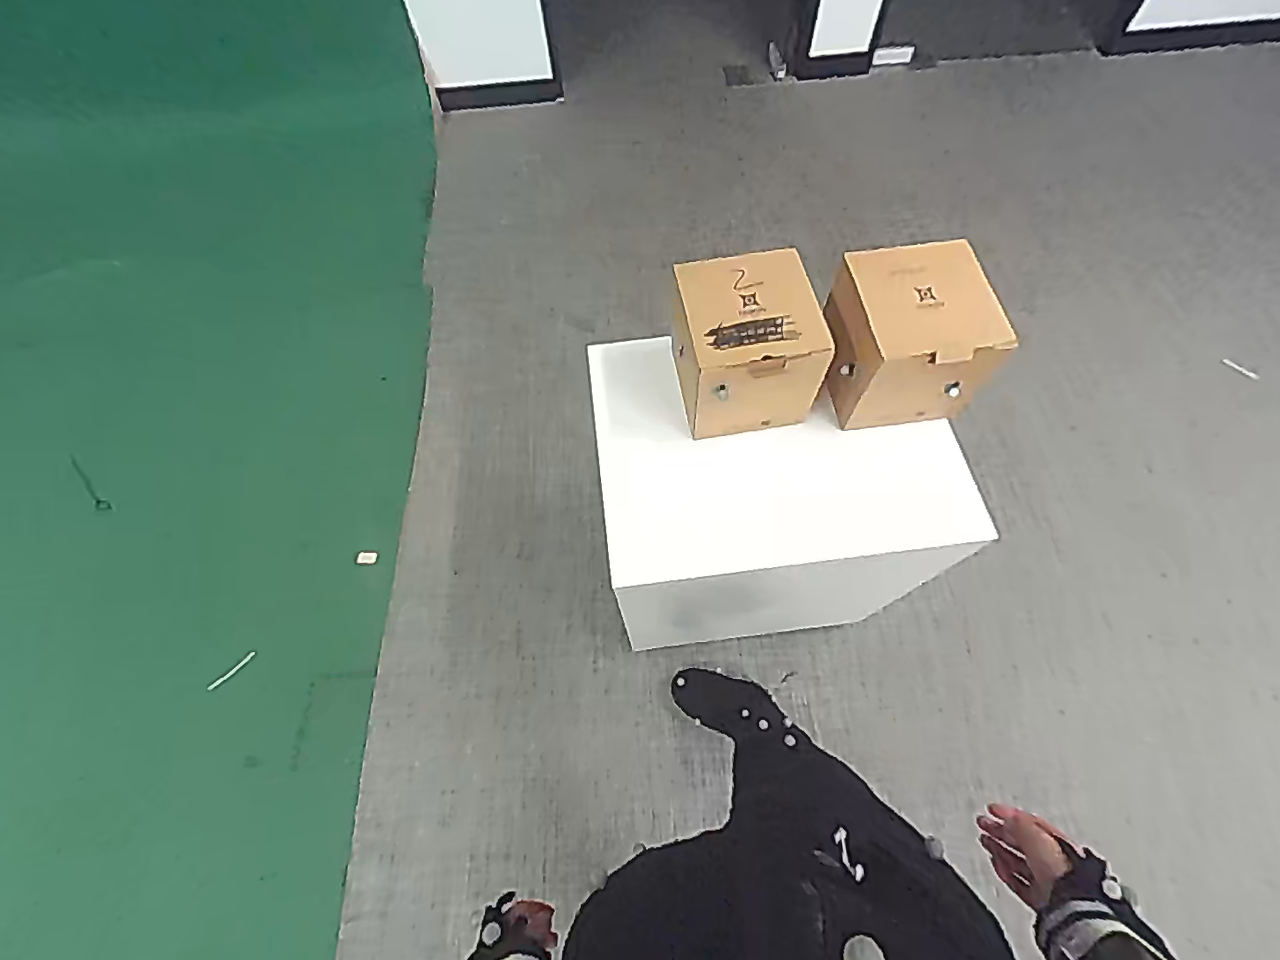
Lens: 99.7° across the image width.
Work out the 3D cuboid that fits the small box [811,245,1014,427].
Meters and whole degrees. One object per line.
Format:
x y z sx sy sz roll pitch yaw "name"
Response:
0.351 -0.184 0.737 0.168 0.176 0.179 -7 64 -2 "small box"
